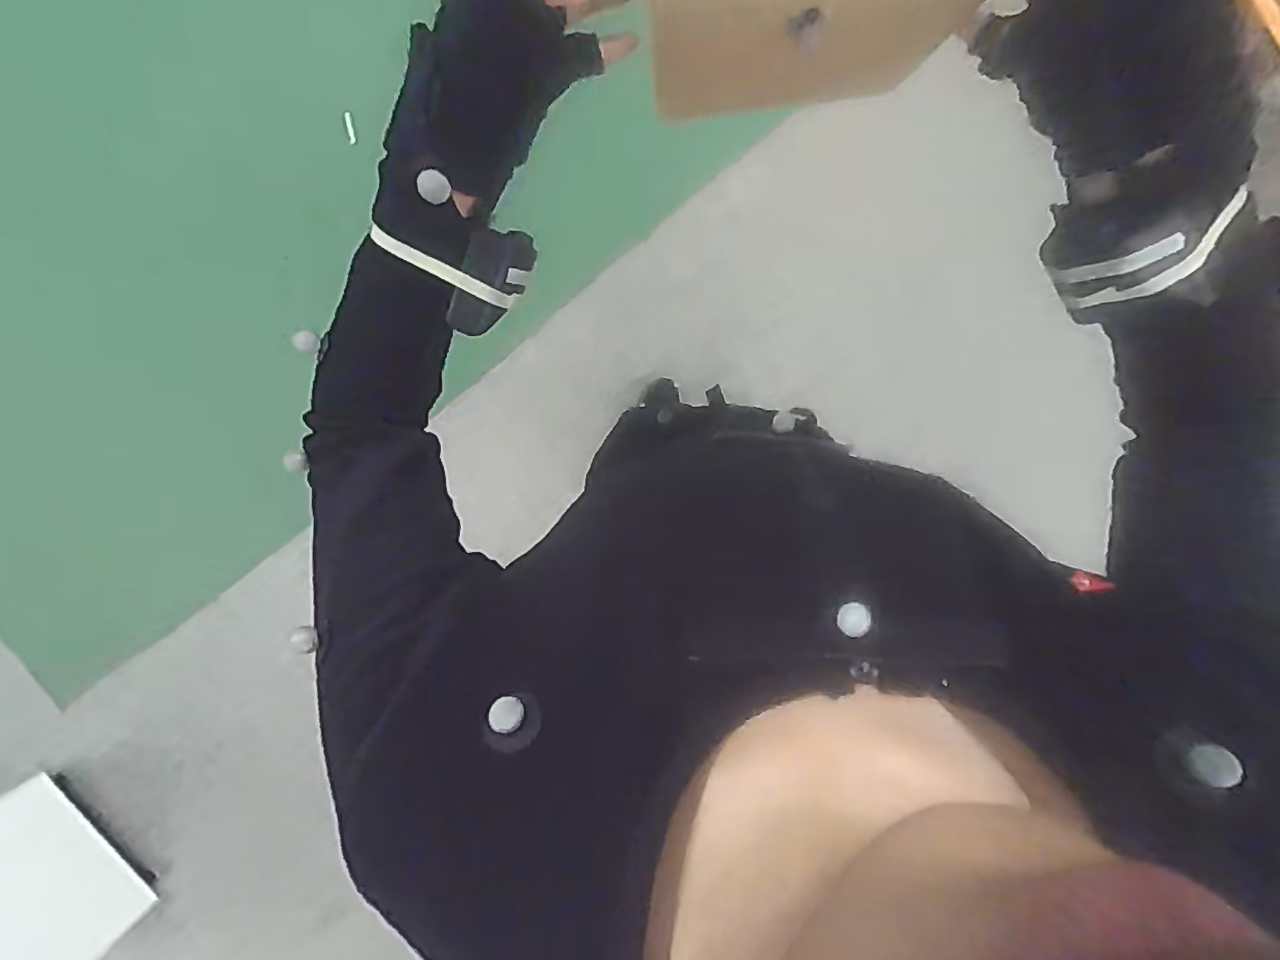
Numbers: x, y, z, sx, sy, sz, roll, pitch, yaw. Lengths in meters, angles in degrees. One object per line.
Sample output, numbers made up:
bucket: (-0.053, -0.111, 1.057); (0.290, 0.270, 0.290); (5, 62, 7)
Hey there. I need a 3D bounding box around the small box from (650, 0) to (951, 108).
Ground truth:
small box: (0.090, -0.338, 0.304); (0.179, 0.176, 0.168); (-6, 107, 2)
